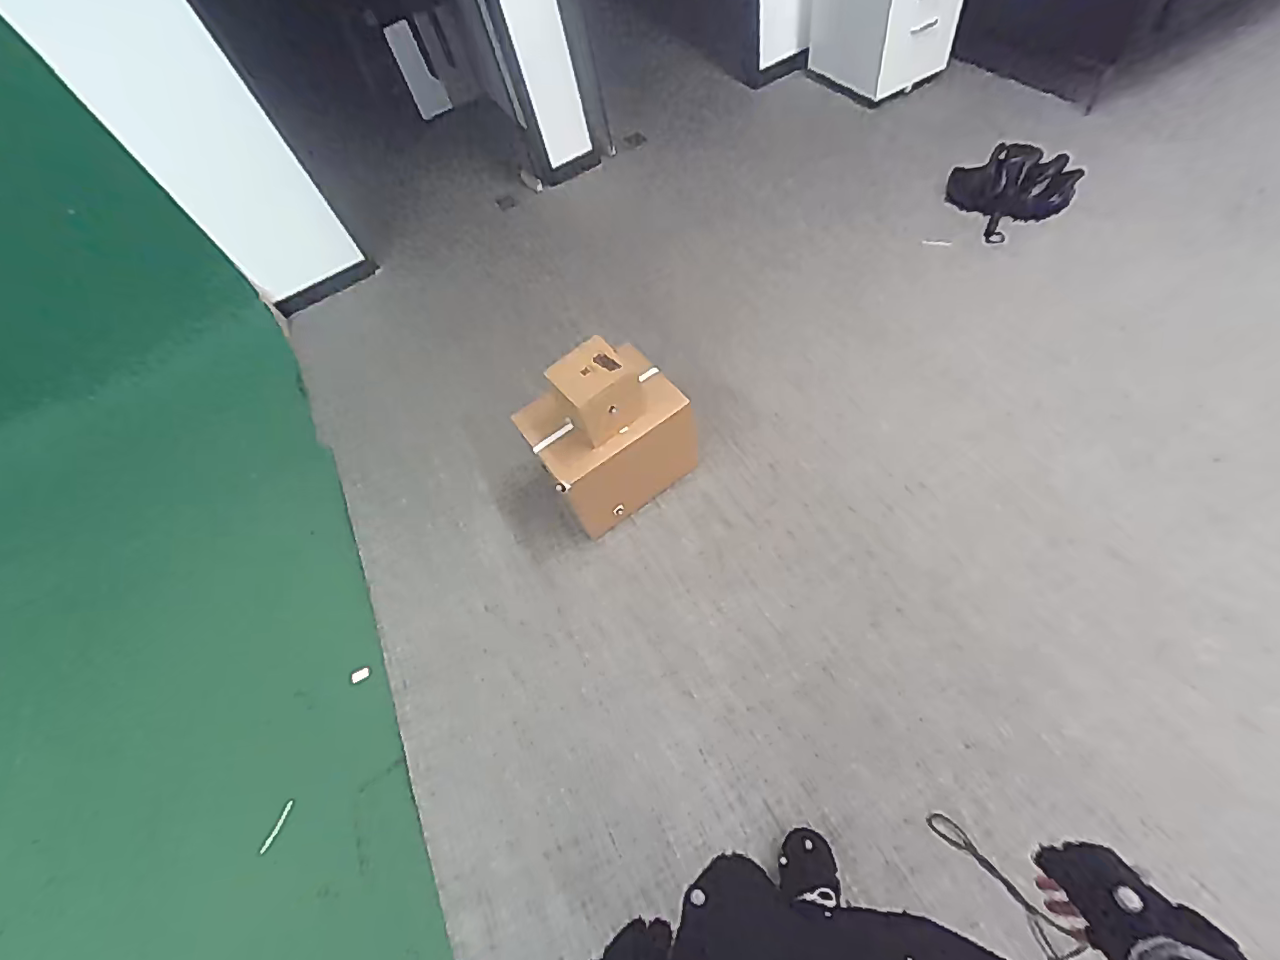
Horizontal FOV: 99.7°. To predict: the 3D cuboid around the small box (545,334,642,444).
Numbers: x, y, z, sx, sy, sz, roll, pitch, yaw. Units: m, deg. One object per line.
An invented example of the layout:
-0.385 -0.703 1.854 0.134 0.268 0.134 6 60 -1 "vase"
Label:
-0.108 -0.227 1.365 0.179 0.176 0.168 -39 60 -14 "small box"
